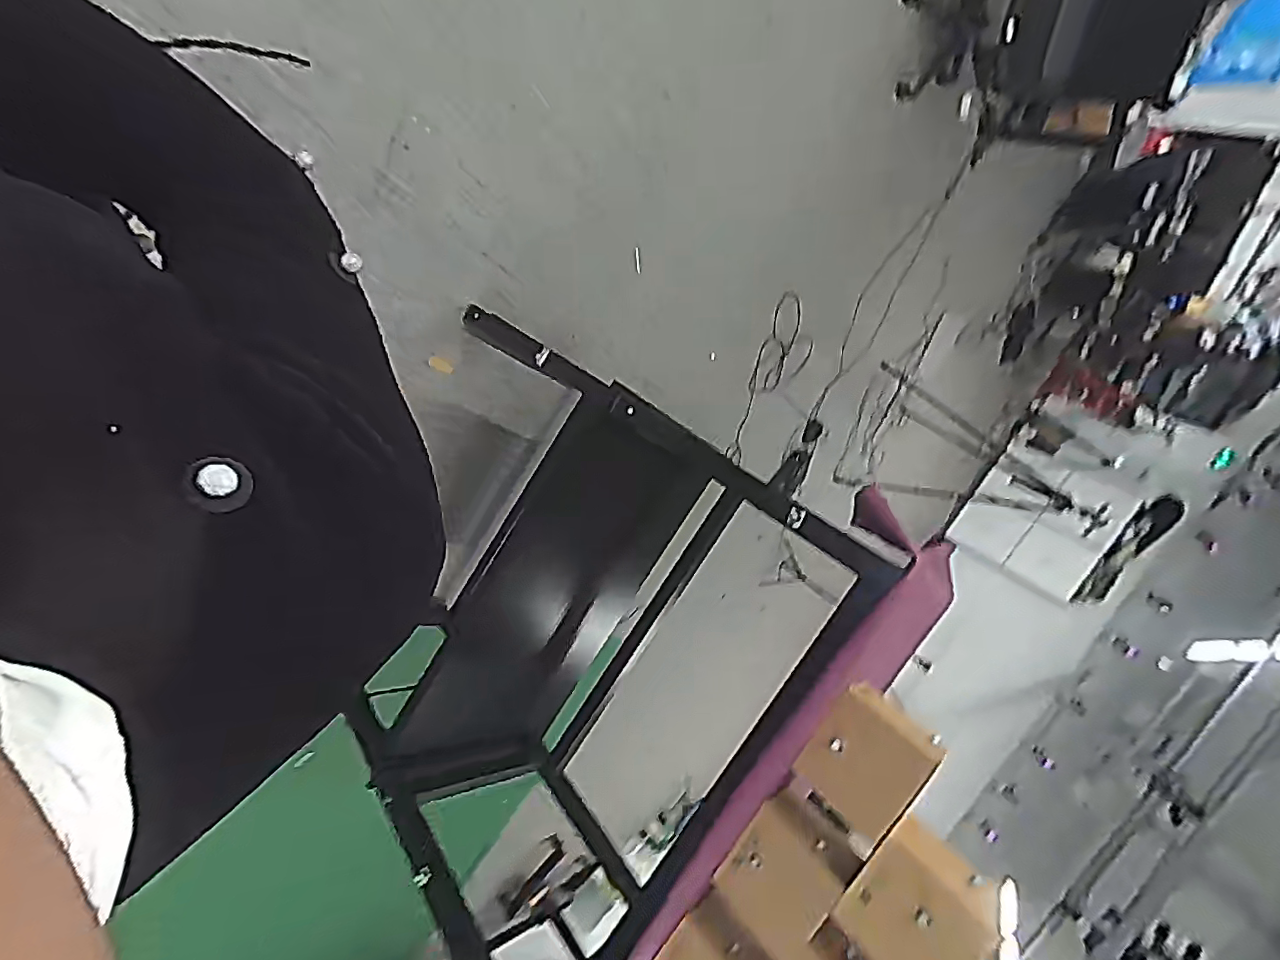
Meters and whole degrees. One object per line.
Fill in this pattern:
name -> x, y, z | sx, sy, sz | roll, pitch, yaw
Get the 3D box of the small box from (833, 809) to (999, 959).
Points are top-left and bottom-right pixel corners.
small box -> 0.431, 0.661, 0.851 | 0.168, 0.176, 0.179 | -57, 144, 5

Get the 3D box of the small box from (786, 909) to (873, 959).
small box -> 0.306, 0.860, 0.876 | 0.179, 0.176, 0.168 | -57, 145, 5

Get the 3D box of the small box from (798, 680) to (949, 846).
small box -> 0.396, 0.473, 0.933 | 0.179, 0.176, 0.168 | -57, 144, 7

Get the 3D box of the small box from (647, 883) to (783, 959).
small box -> 0.128, 0.897, 0.992 | 0.168, 0.176, 0.179 | -55, 145, 3
